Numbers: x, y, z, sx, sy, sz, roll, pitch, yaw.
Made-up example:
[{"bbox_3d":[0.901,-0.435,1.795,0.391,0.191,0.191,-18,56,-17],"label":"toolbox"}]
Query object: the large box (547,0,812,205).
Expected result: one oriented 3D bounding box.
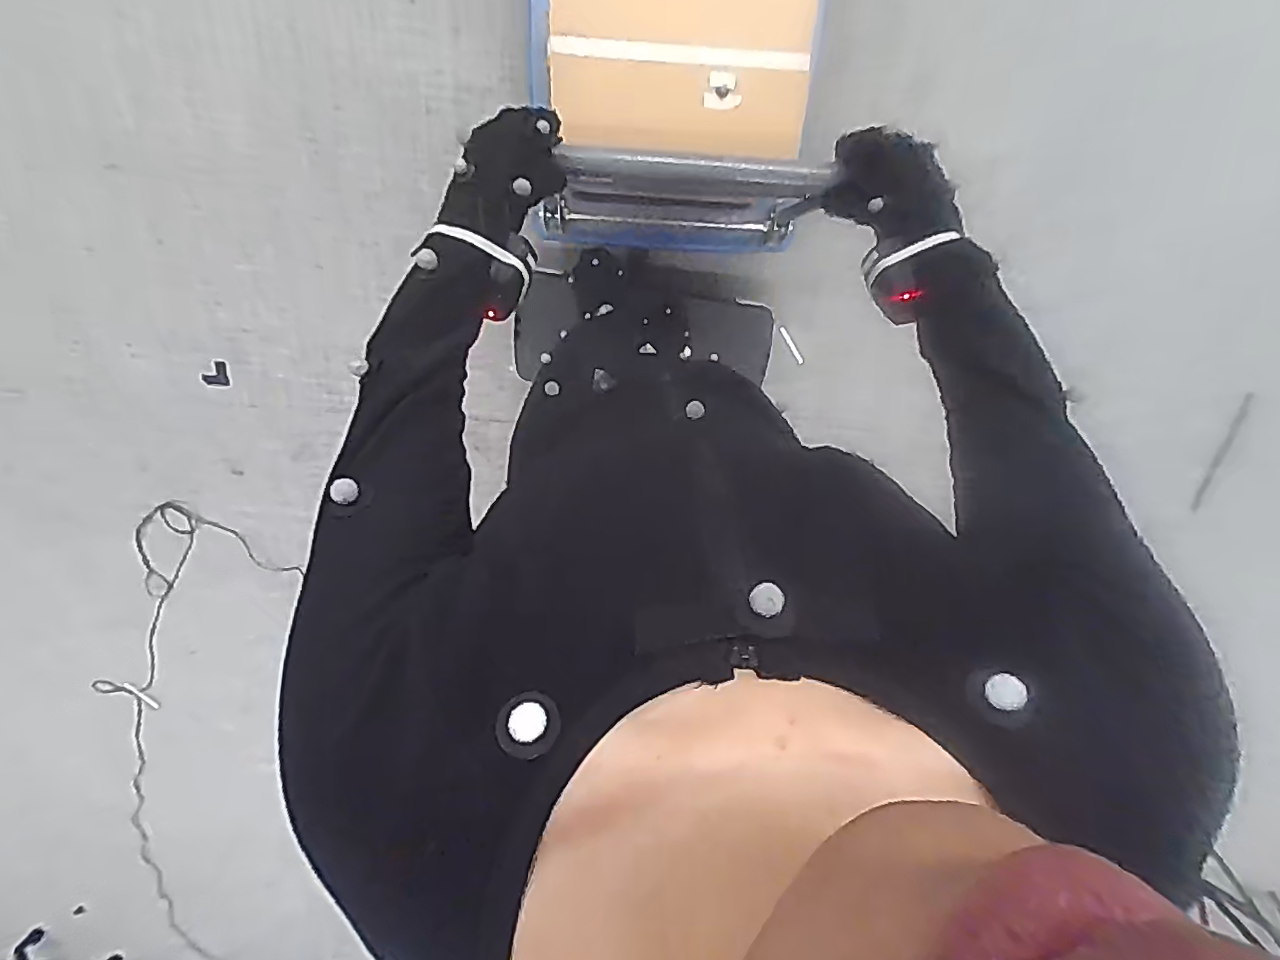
[{"bbox_3d":[0.050,-0.694,0.974,0.408,0.320,0.320,1,111,-4],"label":"large box"}]
